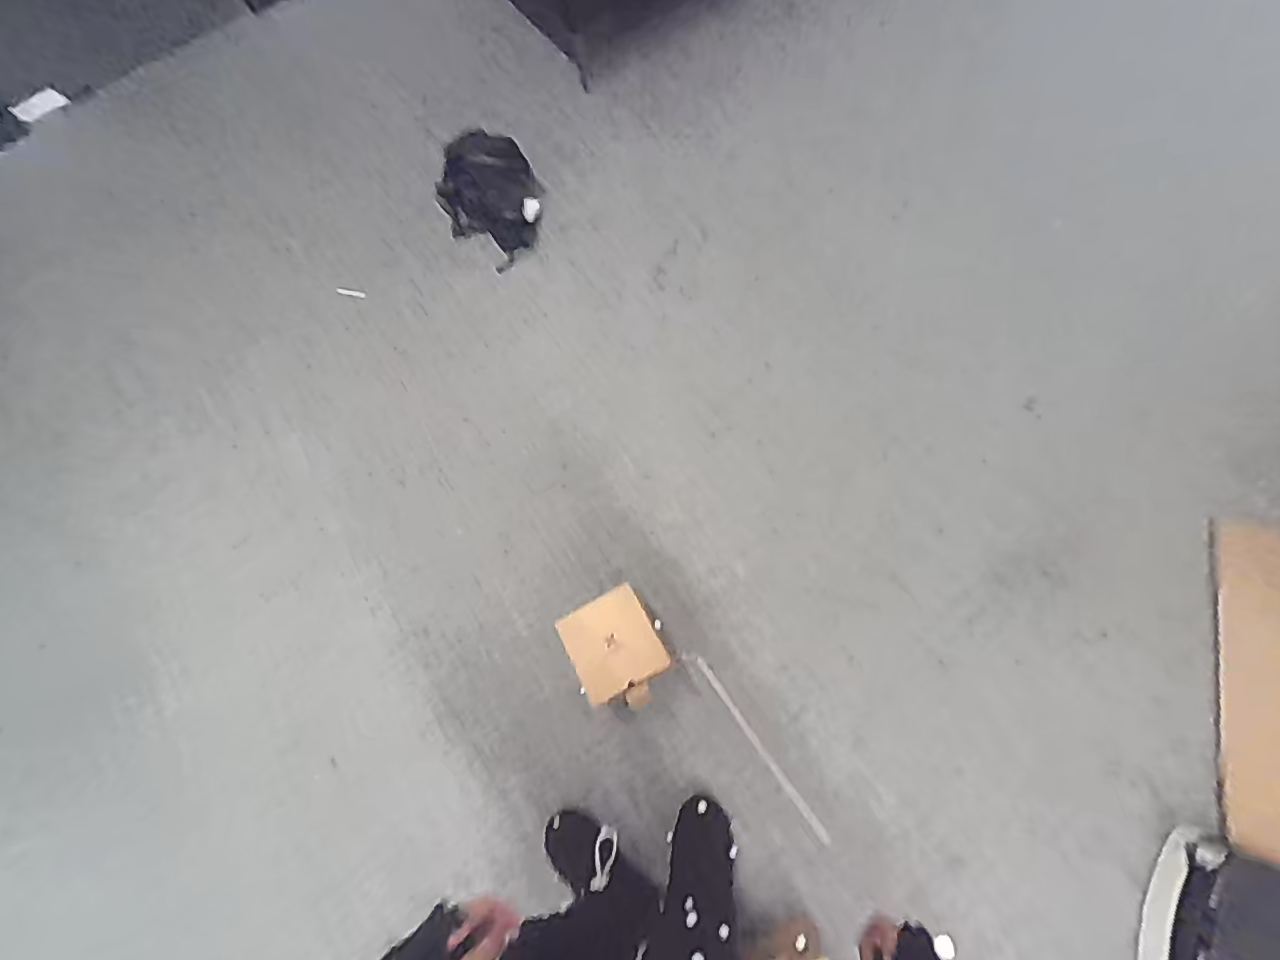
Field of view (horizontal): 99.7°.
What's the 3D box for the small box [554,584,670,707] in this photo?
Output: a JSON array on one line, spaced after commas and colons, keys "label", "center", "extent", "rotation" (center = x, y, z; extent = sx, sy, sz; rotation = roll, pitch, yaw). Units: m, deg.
[{"label": "small box", "center": [-0.052, 0.335, 1.091], "extent": [0.168, 0.176, 0.179], "rotation": [-28, 71, -4]}]
